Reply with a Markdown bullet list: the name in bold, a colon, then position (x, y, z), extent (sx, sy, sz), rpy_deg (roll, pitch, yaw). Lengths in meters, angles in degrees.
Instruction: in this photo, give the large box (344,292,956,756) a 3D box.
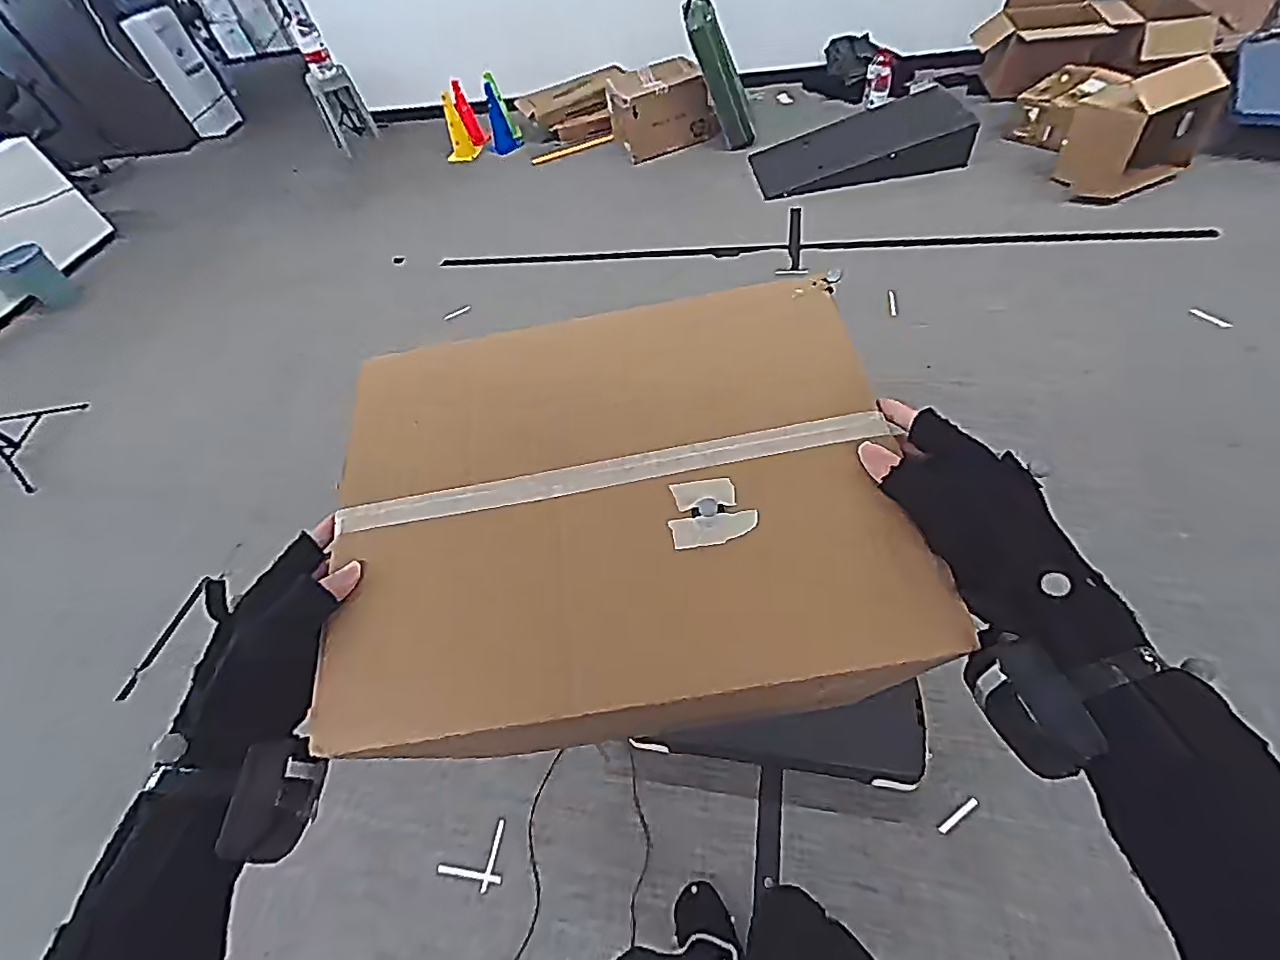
- **large box**: position (-0.003, 0.071, 0.540), extent (0.408, 0.320, 0.320), rpy_deg (-10, 62, 1)
